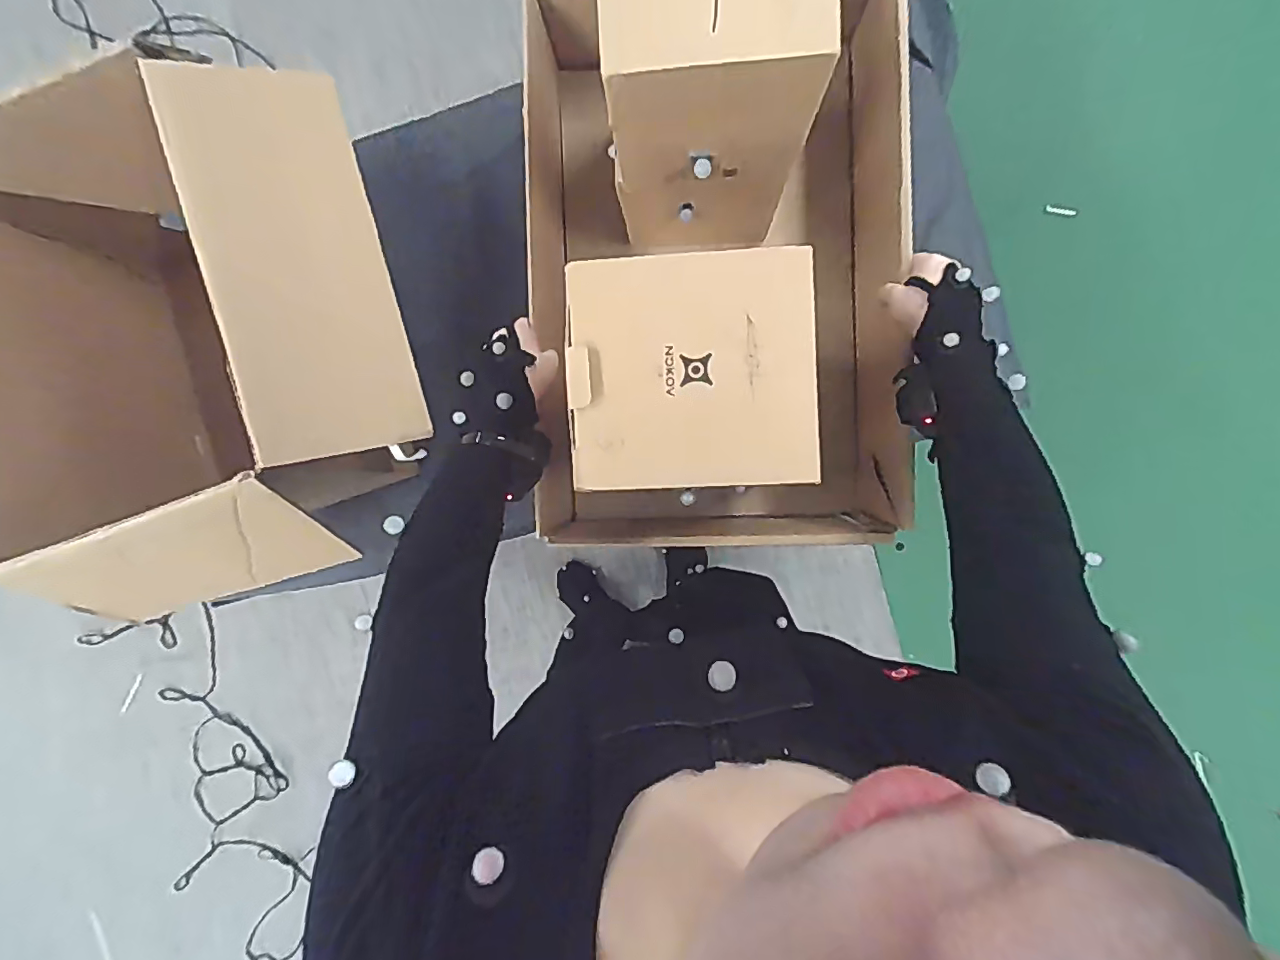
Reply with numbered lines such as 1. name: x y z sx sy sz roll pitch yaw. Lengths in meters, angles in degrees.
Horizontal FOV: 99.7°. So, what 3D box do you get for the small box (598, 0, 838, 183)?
1. small box: 0.056 -0.376 0.445 0.168 0.176 0.179 -1 94 5
